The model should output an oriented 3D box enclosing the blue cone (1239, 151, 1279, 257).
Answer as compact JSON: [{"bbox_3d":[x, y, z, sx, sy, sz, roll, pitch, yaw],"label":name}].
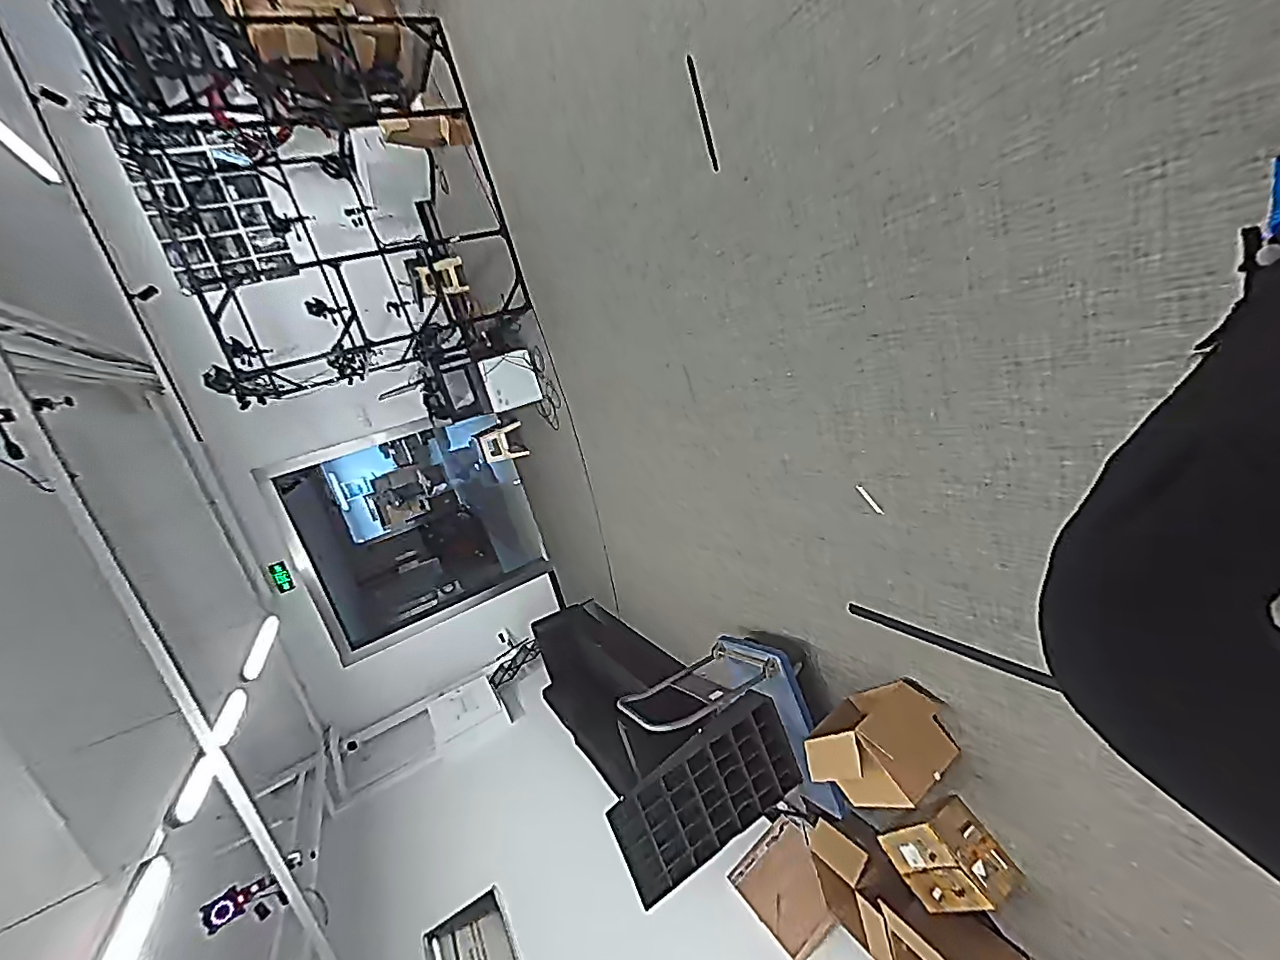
[{"bbox_3d":[0.993,-0.401,0.789,0.192,0.380,0.193,20,128,61],"label":"blue cone"}]
